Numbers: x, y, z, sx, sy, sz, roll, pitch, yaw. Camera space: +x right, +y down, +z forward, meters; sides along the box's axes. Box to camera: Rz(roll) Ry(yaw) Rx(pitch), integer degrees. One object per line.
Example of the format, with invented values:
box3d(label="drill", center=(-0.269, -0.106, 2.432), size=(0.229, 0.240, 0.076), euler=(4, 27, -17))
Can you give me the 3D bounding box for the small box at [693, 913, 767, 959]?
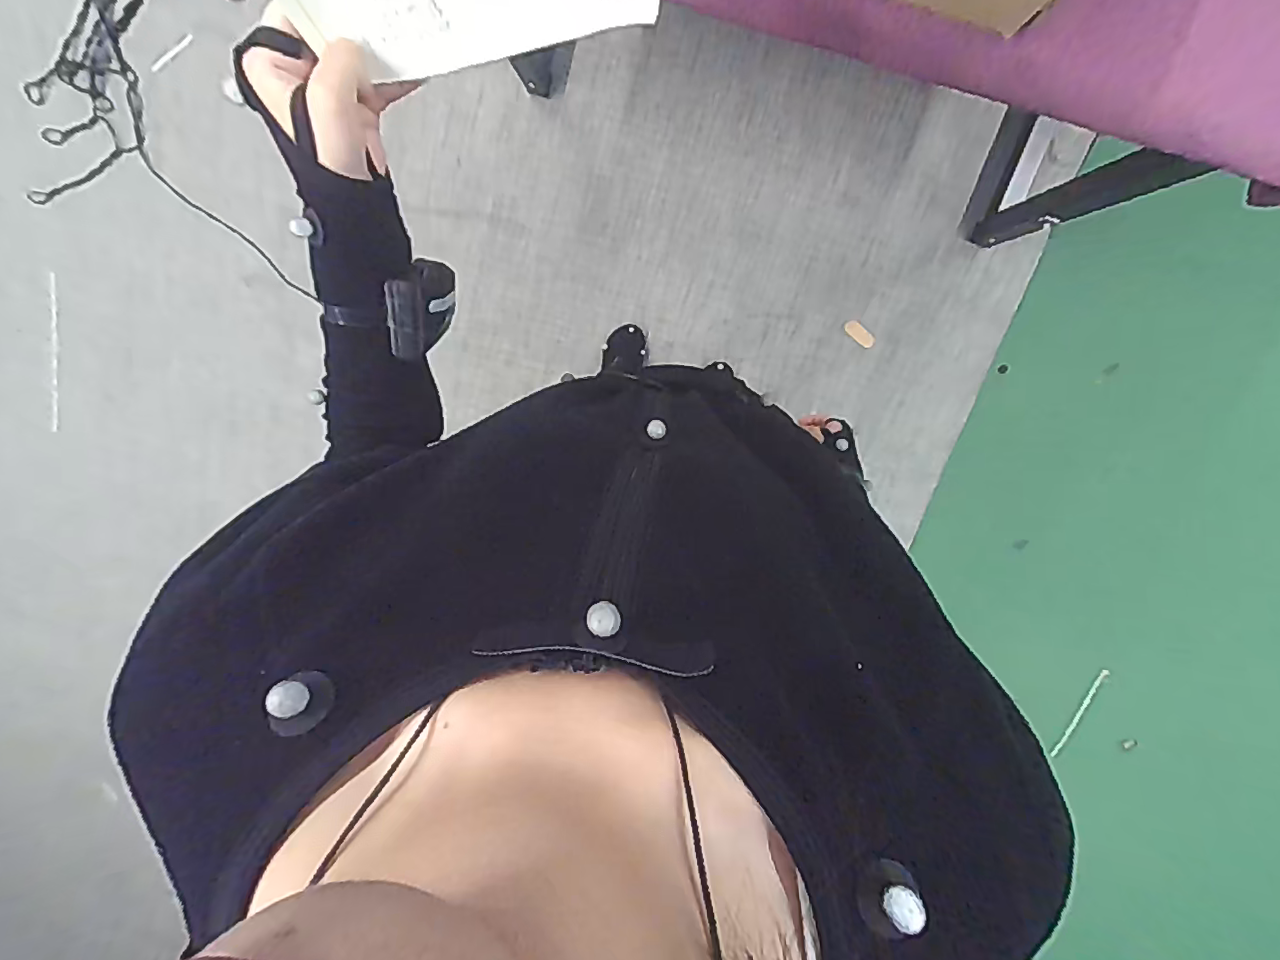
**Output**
box3d(label="small box", center=(0.232, 1.268, 1.395), size=(0.179, 0.176, 0.168), euler=(7, 102, 4))
